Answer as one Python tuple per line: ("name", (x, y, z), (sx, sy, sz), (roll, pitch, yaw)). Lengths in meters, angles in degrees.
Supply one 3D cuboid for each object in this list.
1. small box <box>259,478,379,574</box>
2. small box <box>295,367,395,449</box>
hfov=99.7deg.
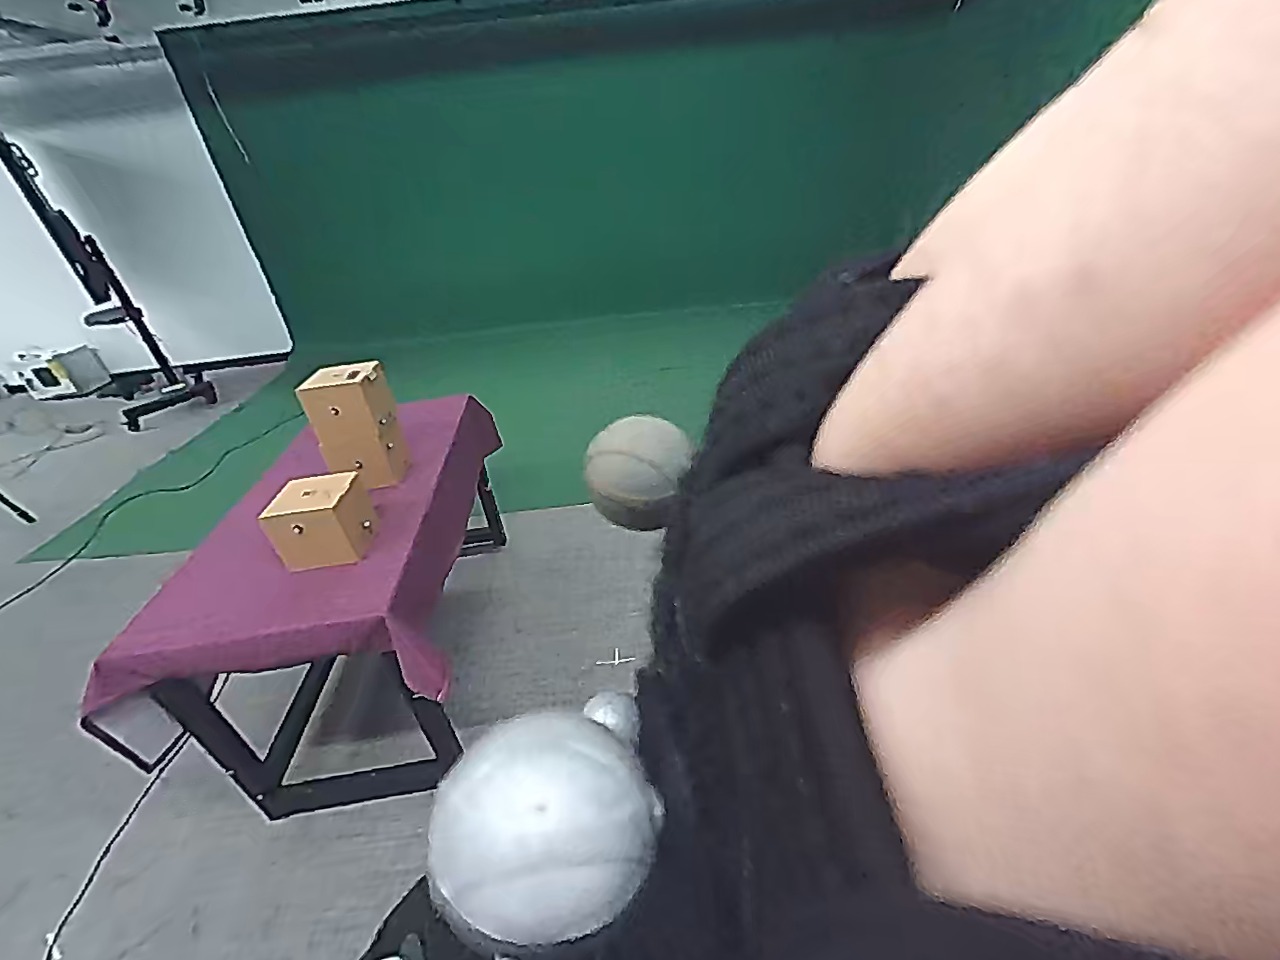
("small box", (-0.787, 0.117, 1.346), (0.179, 0.176, 0.168), (-8, 32, -1))
("small box", (-0.839, -0.207, 1.562), (0.179, 0.176, 0.168), (-9, 32, 0))
